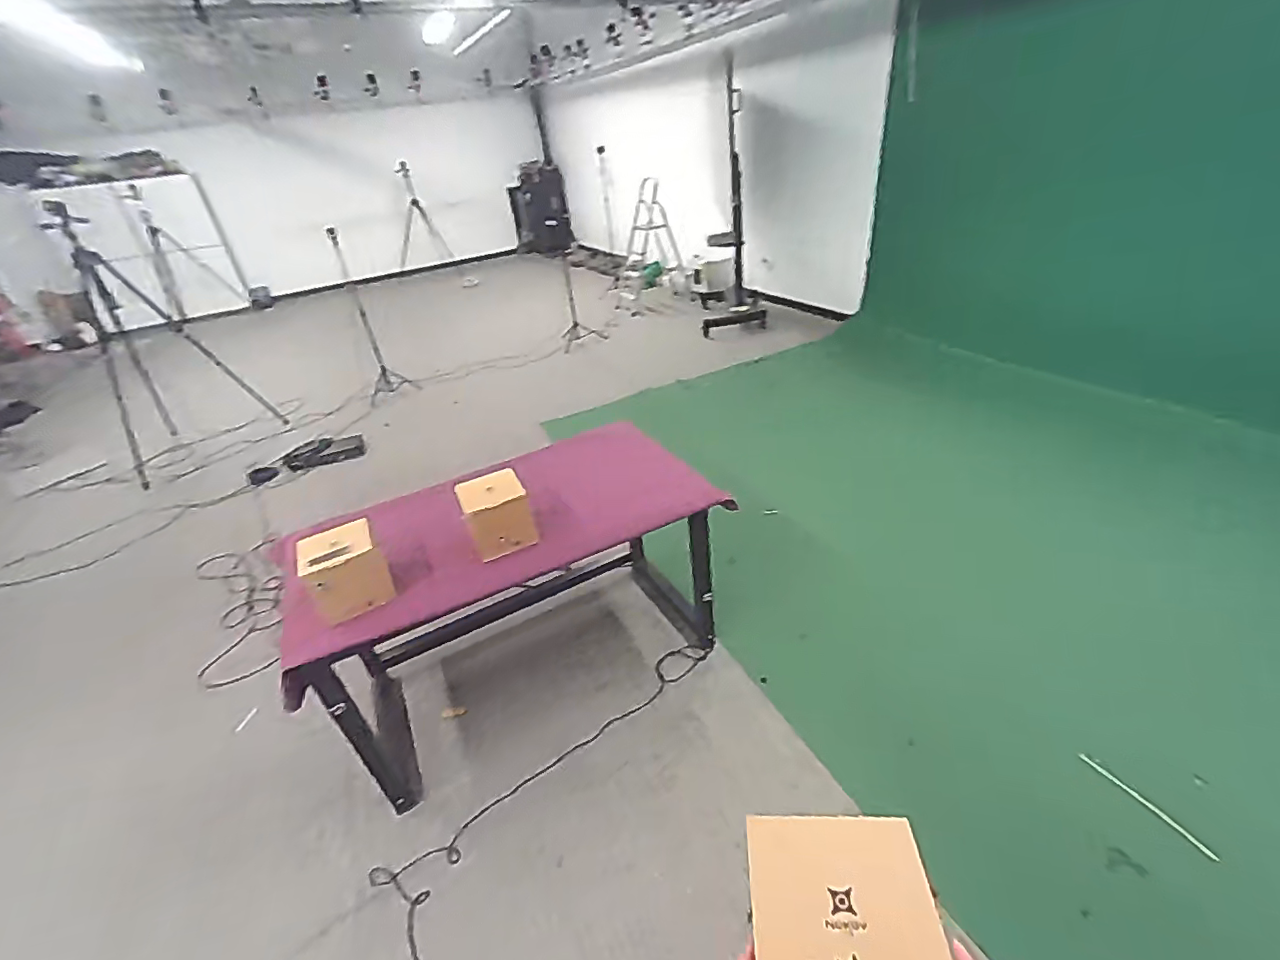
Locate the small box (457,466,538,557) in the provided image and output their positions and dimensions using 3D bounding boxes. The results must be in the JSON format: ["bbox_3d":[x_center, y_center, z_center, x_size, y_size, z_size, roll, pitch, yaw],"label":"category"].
[{"bbox_3d":[-0.402,0.089,1.531,0.168,0.176,0.179,-20,35,-19],"label":"small box"}]

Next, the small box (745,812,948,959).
[{"bbox_3d":[0.194,0.465,0.532,0.168,0.176,0.179,-6,28,9],"label":"small box"}]
